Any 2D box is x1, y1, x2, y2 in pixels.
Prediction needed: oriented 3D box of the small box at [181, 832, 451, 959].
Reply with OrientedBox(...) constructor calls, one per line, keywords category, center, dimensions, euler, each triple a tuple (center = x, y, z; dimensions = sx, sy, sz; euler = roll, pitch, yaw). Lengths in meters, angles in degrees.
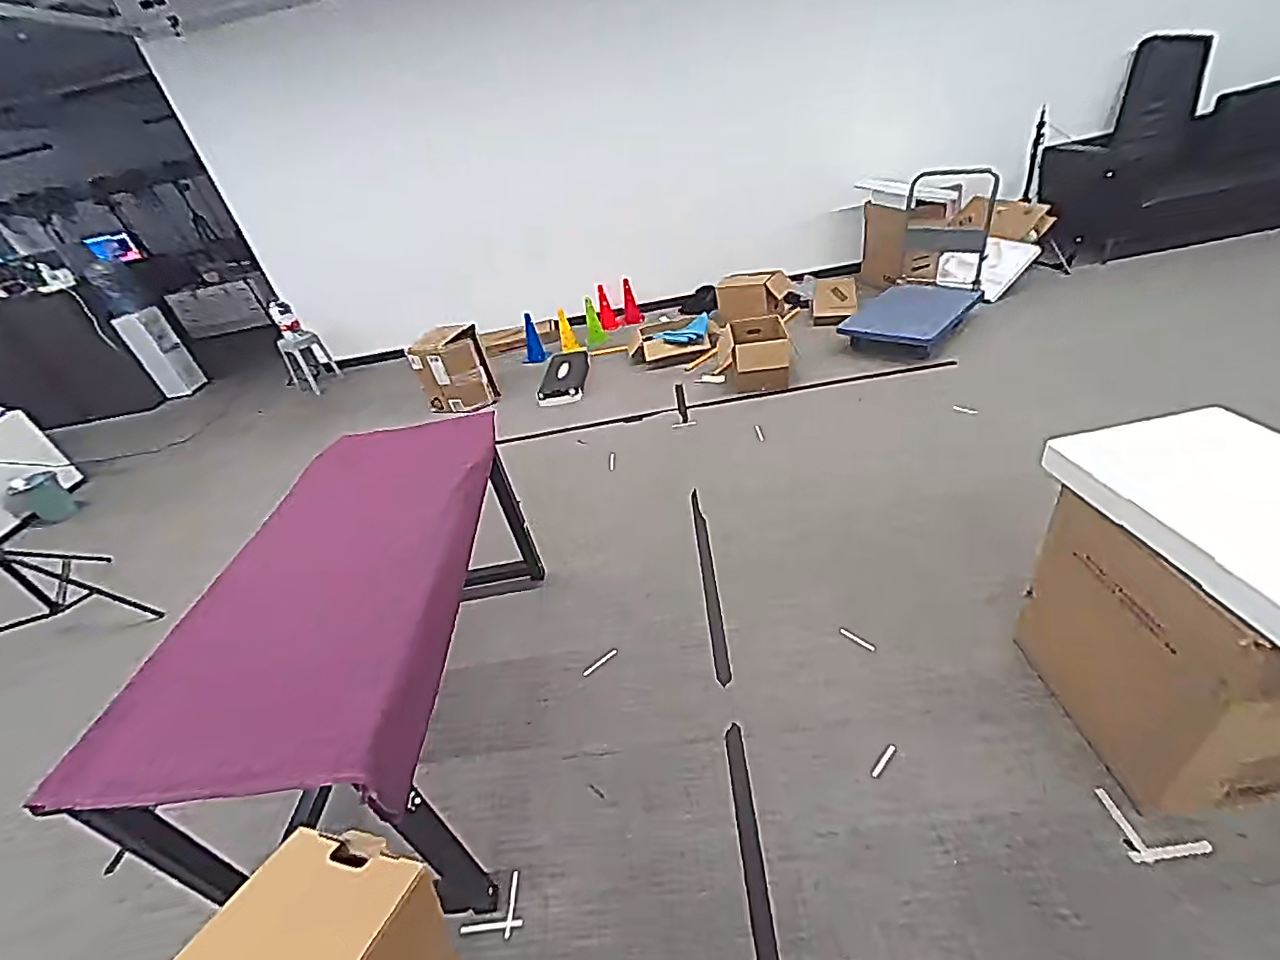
OrientedBox(category="small box", center=(-0.291, 0.471, 0.485), dimensions=(0.168, 0.176, 0.179), euler=(0, 20, 20))
